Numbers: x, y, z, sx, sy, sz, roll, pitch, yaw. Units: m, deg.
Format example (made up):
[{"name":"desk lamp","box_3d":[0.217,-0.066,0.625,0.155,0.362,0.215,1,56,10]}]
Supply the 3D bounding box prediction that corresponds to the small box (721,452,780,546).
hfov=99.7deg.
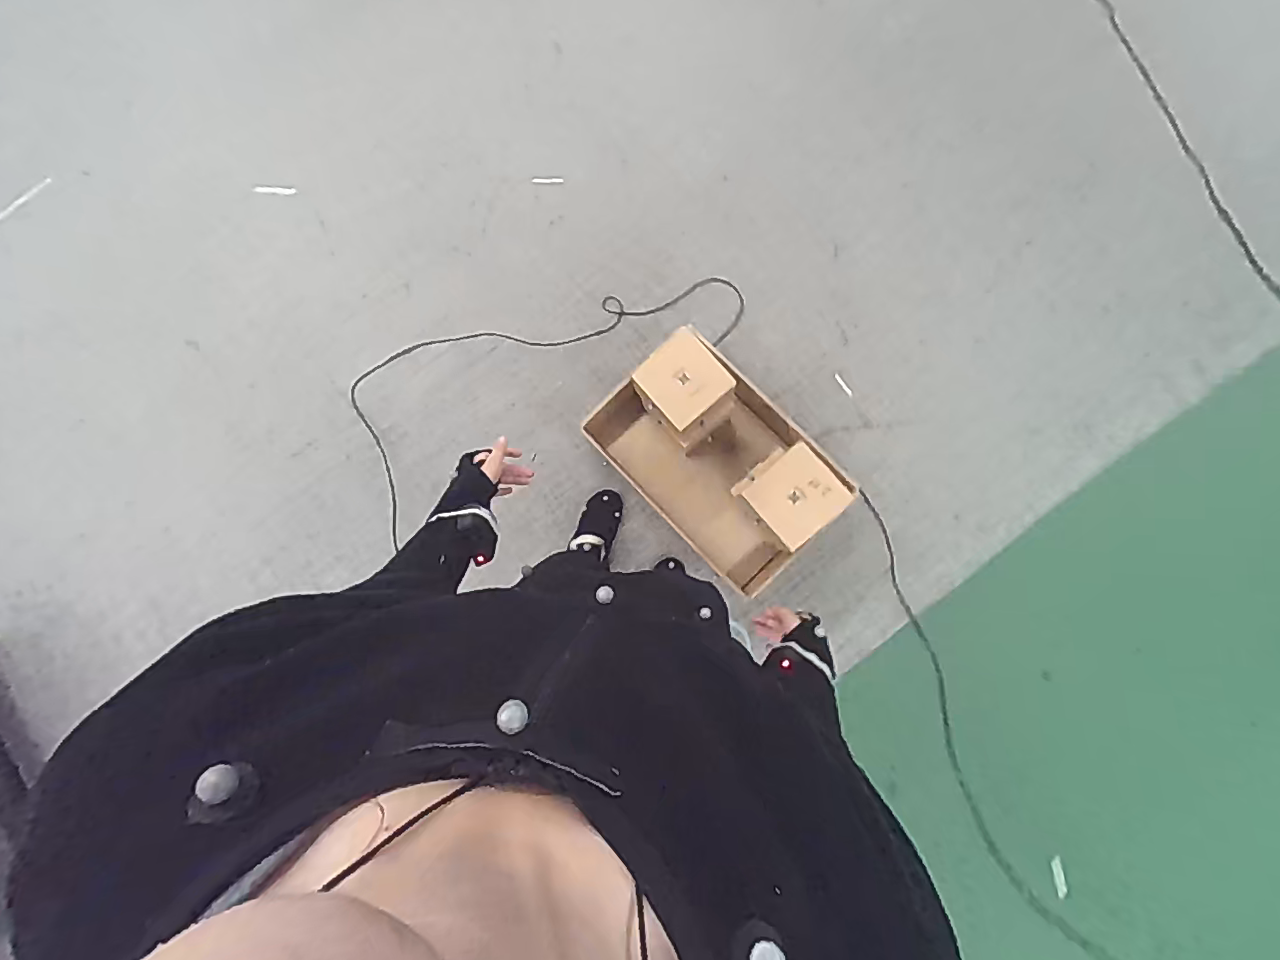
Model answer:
[{"name":"small box","box_3d":[0.323,0.058,1.371,0.168,0.176,0.179,-40,82,-1]}]

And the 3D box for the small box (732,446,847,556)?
[{"name":"small box","box_3d":[0.320,0.052,1.205,0.179,0.176,0.168,-40,84,-2]}]

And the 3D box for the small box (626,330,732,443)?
[{"name":"small box","box_3d":[0.088,-0.206,1.250,0.168,0.176,0.179,-40,84,0]}]
